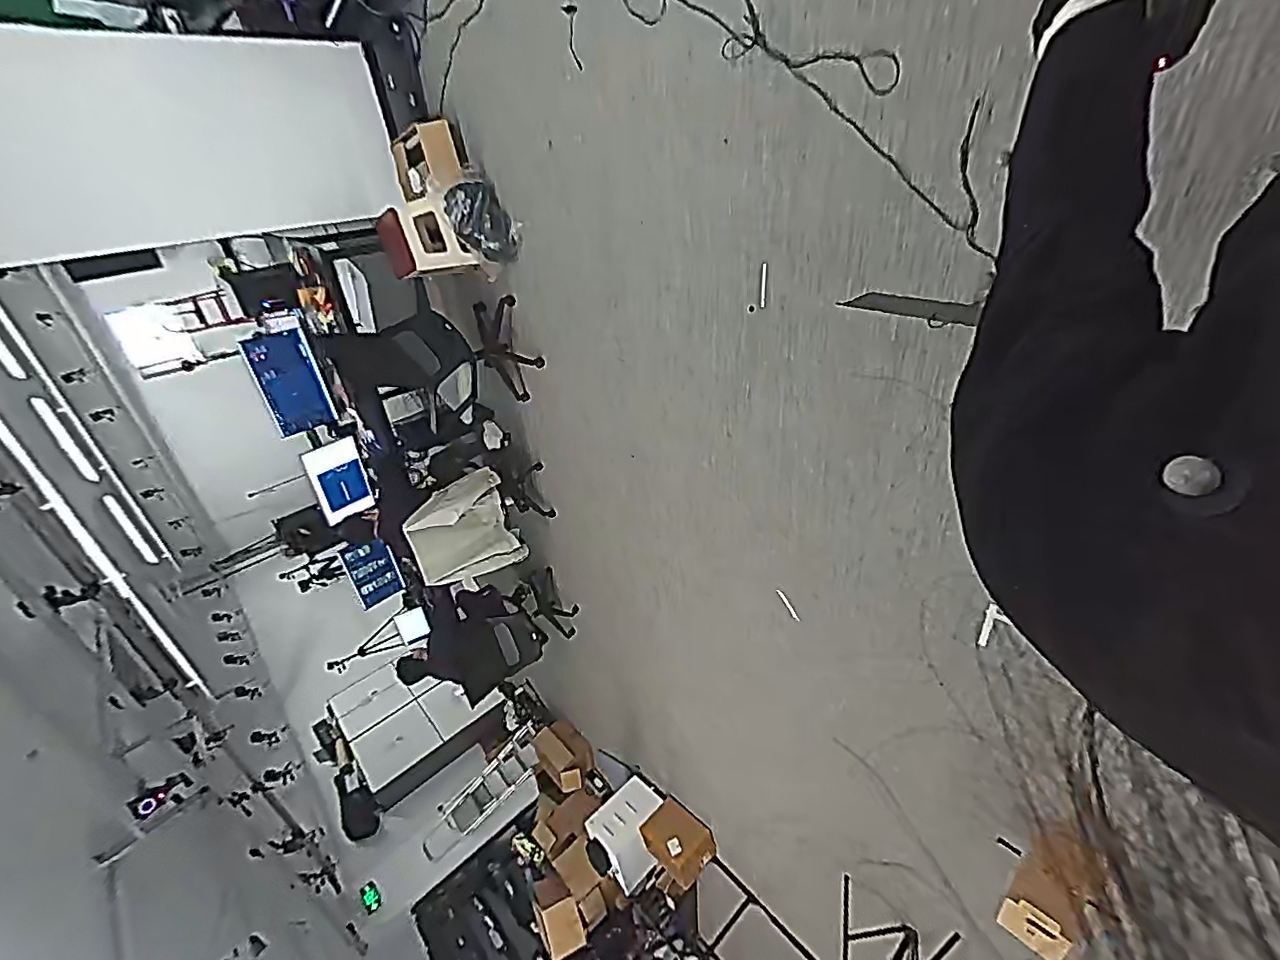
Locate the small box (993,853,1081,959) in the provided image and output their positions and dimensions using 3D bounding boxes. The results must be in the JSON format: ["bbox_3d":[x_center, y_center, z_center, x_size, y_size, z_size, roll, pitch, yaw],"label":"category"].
[{"bbox_3d":[1.227,1.311,1.669,0.168,0.176,0.179,24,133,43],"label":"small box"}]

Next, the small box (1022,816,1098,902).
[{"bbox_3d":[1.351,1.245,1.755,0.168,0.176,0.179,24,133,44],"label":"small box"}]
